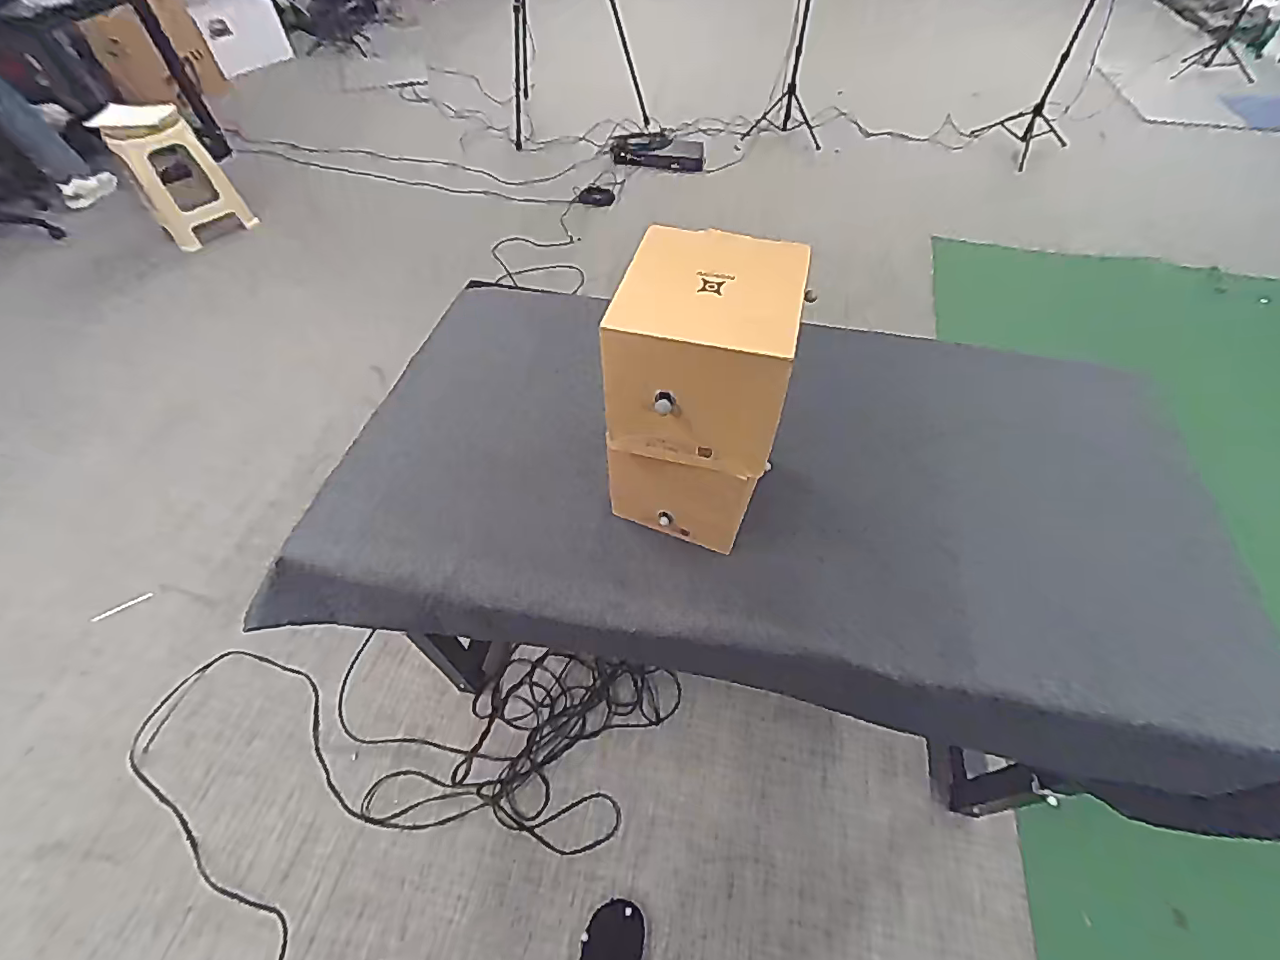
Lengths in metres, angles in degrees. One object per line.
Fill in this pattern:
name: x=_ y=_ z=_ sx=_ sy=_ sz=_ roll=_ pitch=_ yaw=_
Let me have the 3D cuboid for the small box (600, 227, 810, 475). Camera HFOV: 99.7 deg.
small box: x=0.068 y=-0.129 z=0.558 sx=0.168 sy=0.176 sz=0.179 roll=12 pitch=54 yaw=9
